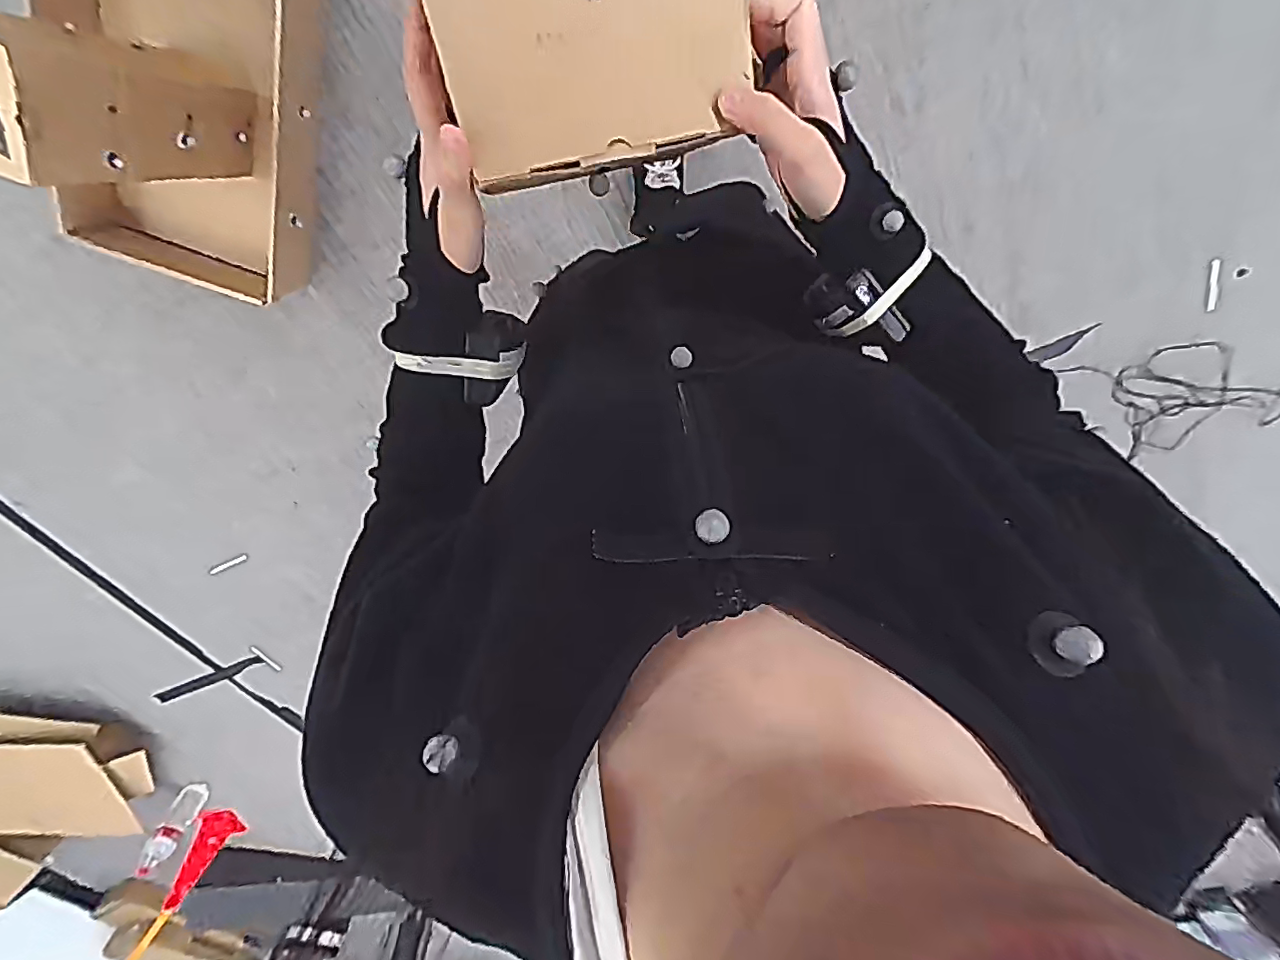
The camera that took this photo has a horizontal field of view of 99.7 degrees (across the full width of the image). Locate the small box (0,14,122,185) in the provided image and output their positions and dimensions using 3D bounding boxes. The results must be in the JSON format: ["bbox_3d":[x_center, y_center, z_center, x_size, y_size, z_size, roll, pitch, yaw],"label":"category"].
[{"bbox_3d":[-0.877,-0.537,0.754,0.179,0.176,0.168,19,119,-11],"label":"small box"}]

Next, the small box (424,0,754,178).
[{"bbox_3d":[-0.044,-0.298,0.332,0.168,0.176,0.179,-16,119,-6],"label":"small box"}]

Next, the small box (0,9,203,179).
[{"bbox_3d":[-0.875,-0.623,0.894,0.179,0.176,0.168,19,120,-13],"label":"small box"}]

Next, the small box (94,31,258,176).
[{"bbox_3d":[-0.877,-0.705,1.034,0.179,0.176,0.168,20,119,-13],"label":"small box"}]
